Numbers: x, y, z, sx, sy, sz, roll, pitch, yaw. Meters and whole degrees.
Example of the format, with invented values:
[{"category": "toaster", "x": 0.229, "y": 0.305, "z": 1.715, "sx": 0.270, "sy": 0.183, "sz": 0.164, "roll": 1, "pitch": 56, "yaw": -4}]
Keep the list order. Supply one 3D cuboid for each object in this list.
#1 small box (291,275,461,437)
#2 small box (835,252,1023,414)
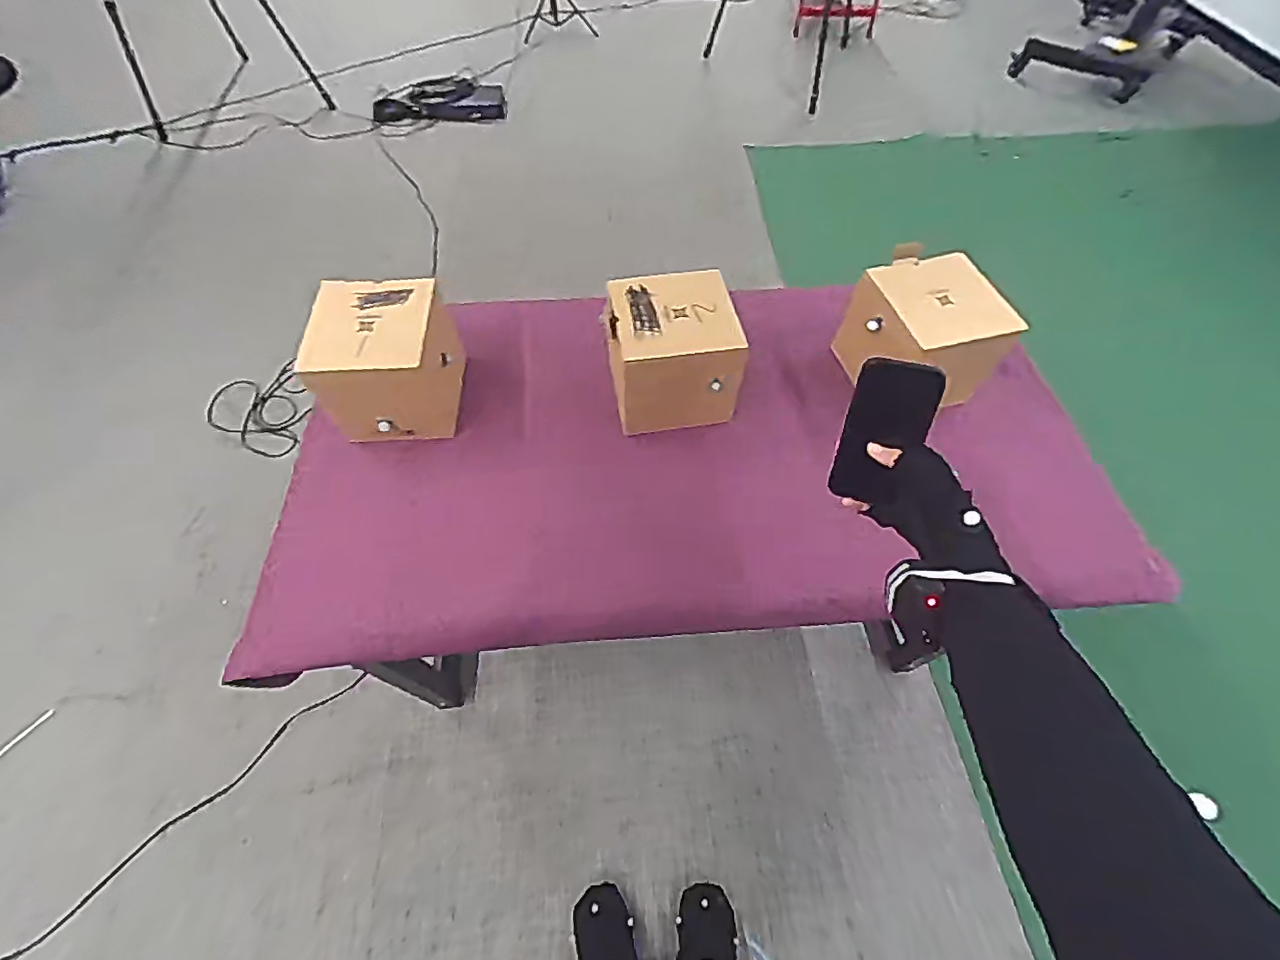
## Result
[{"category": "small box", "x": -0.377, "y": -0.183, "z": 0.814, "sx": 0.168, "sy": 0.176, "sz": 0.179, "roll": -2, "pitch": 61, "yaw": -2}, {"category": "small box", "x": 0.435, "y": -0.221, "z": 0.849, "sx": 0.168, "sy": 0.176, "sz": 0.179, "roll": -12, "pitch": 60, "yaw": -7}]
